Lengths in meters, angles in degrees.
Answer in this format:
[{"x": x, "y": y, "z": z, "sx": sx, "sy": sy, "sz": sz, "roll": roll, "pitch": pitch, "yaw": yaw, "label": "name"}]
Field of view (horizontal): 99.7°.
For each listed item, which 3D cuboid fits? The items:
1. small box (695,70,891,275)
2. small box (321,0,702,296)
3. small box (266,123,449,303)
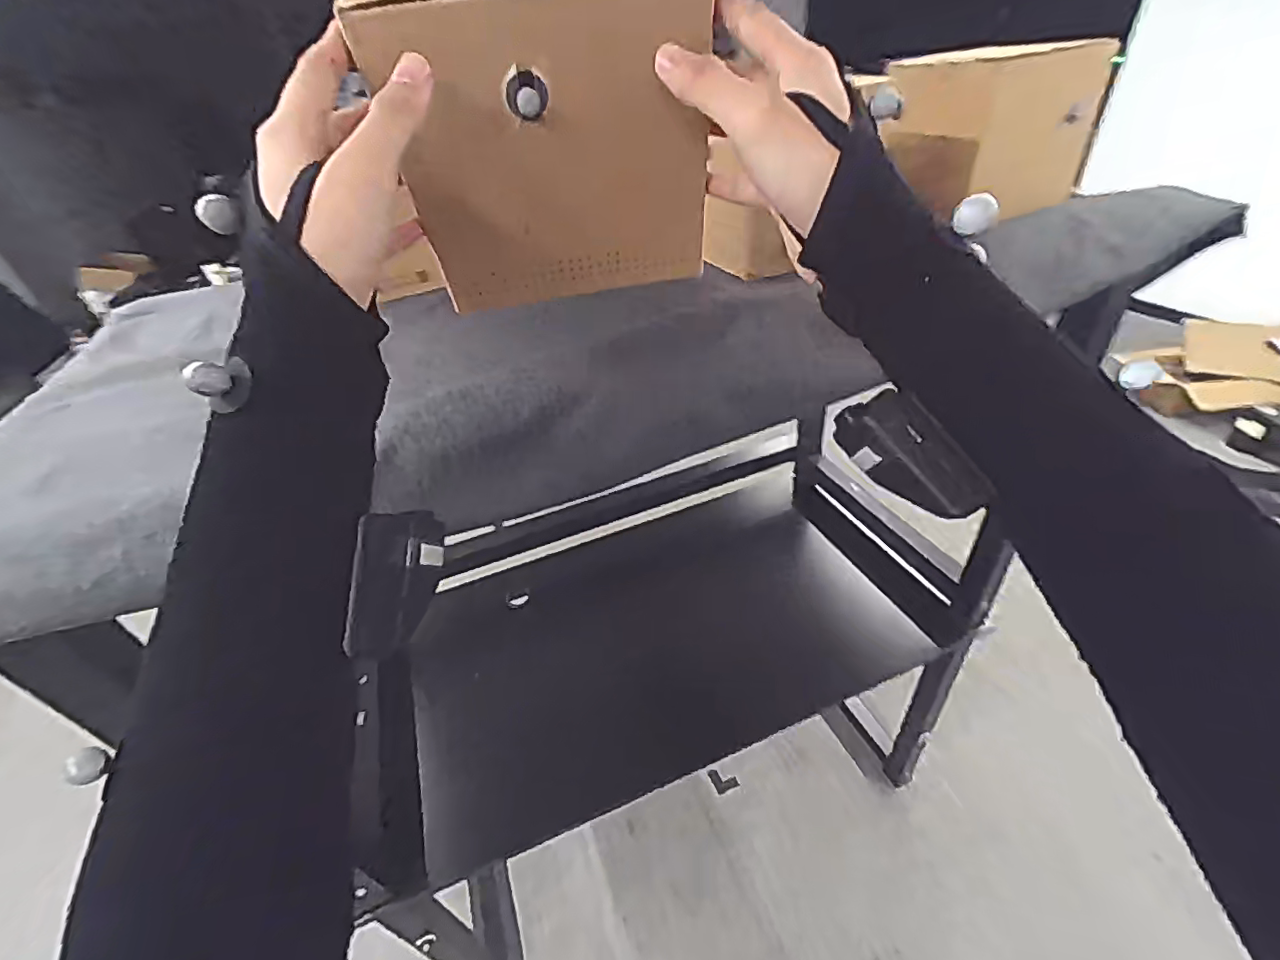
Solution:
[{"x": 0.147, "y": -0.348, "z": 0.616, "sx": 0.168, "sy": 0.176, "sz": 0.179, "roll": -19, "pitch": 39, "yaw": -12, "label": "small box"}, {"x": -0.060, "y": -0.239, "z": 0.344, "sx": 0.179, "sy": 0.176, "sz": 0.168, "roll": -10, "pitch": 57, "yaw": -3, "label": "small box"}, {"x": -0.336, "y": -0.337, "z": 0.682, "sx": 0.168, "sy": 0.176, "sz": 0.179, "roll": -21, "pitch": 40, "yaw": -17, "label": "small box"}]
